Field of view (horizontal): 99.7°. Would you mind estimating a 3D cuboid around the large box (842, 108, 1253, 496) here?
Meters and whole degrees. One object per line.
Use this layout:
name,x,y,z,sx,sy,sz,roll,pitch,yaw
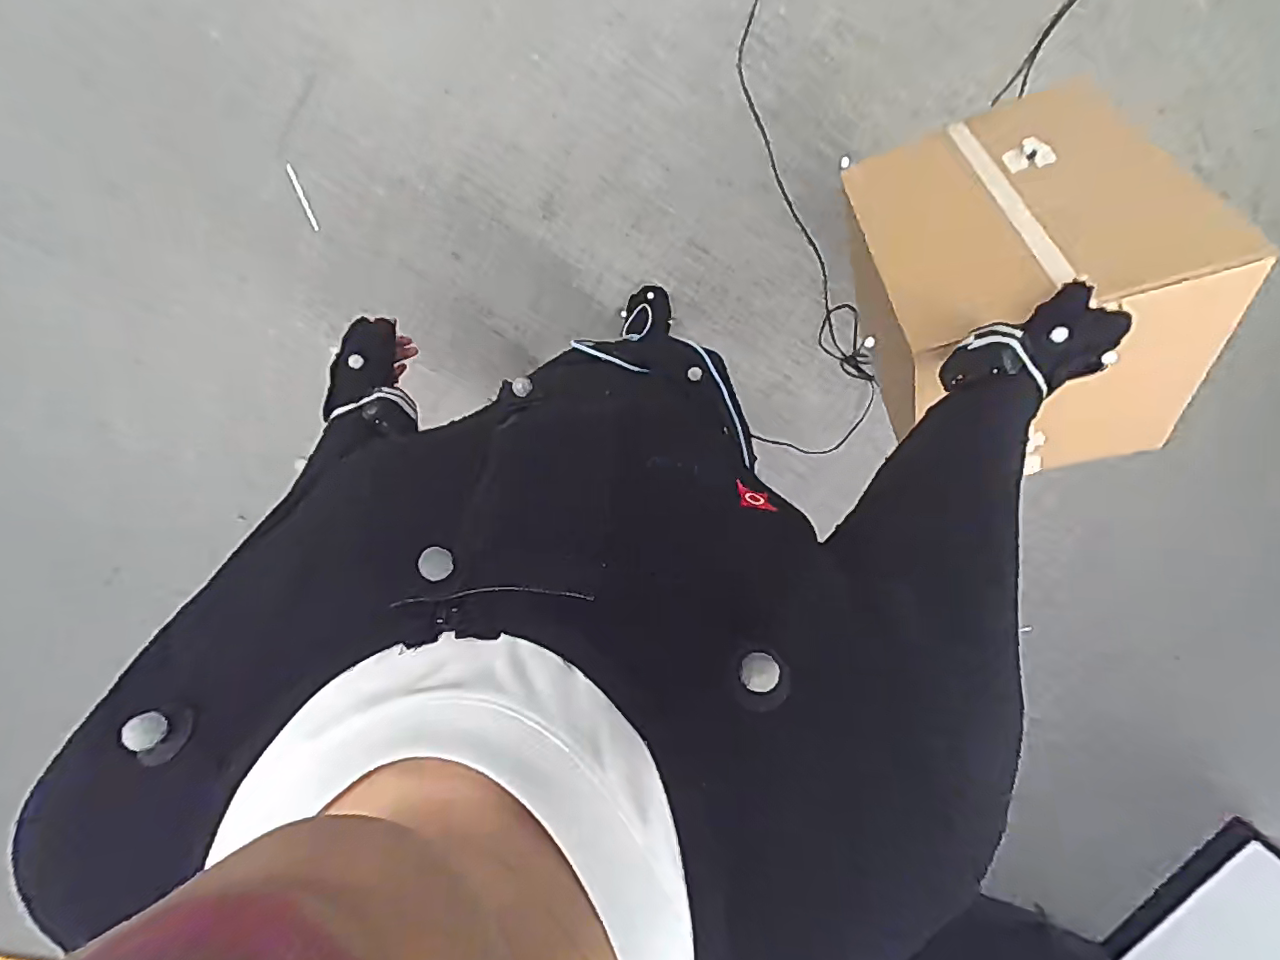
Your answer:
large box,0.513,-0.243,0.793,0.320,0.408,0.320,-12,142,18
